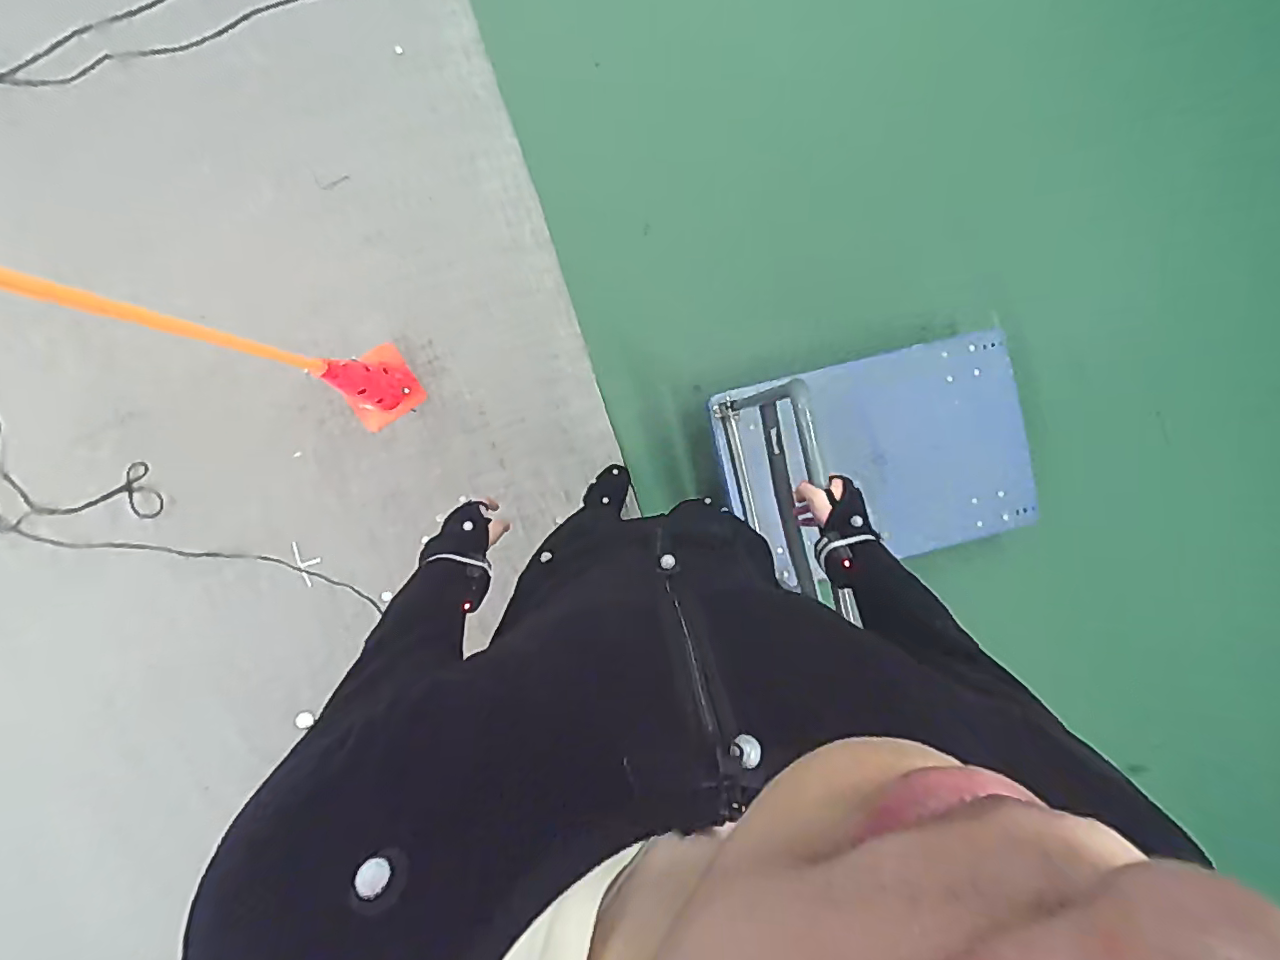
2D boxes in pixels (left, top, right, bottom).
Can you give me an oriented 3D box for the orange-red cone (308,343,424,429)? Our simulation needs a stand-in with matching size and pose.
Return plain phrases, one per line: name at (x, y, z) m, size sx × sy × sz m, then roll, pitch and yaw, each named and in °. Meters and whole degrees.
orange-red cone at (-0.737, -0.266, 1.382) m, size 0.198 × 0.360 × 0.199 m, roll -33°, pitch 93°, yaw -3°
